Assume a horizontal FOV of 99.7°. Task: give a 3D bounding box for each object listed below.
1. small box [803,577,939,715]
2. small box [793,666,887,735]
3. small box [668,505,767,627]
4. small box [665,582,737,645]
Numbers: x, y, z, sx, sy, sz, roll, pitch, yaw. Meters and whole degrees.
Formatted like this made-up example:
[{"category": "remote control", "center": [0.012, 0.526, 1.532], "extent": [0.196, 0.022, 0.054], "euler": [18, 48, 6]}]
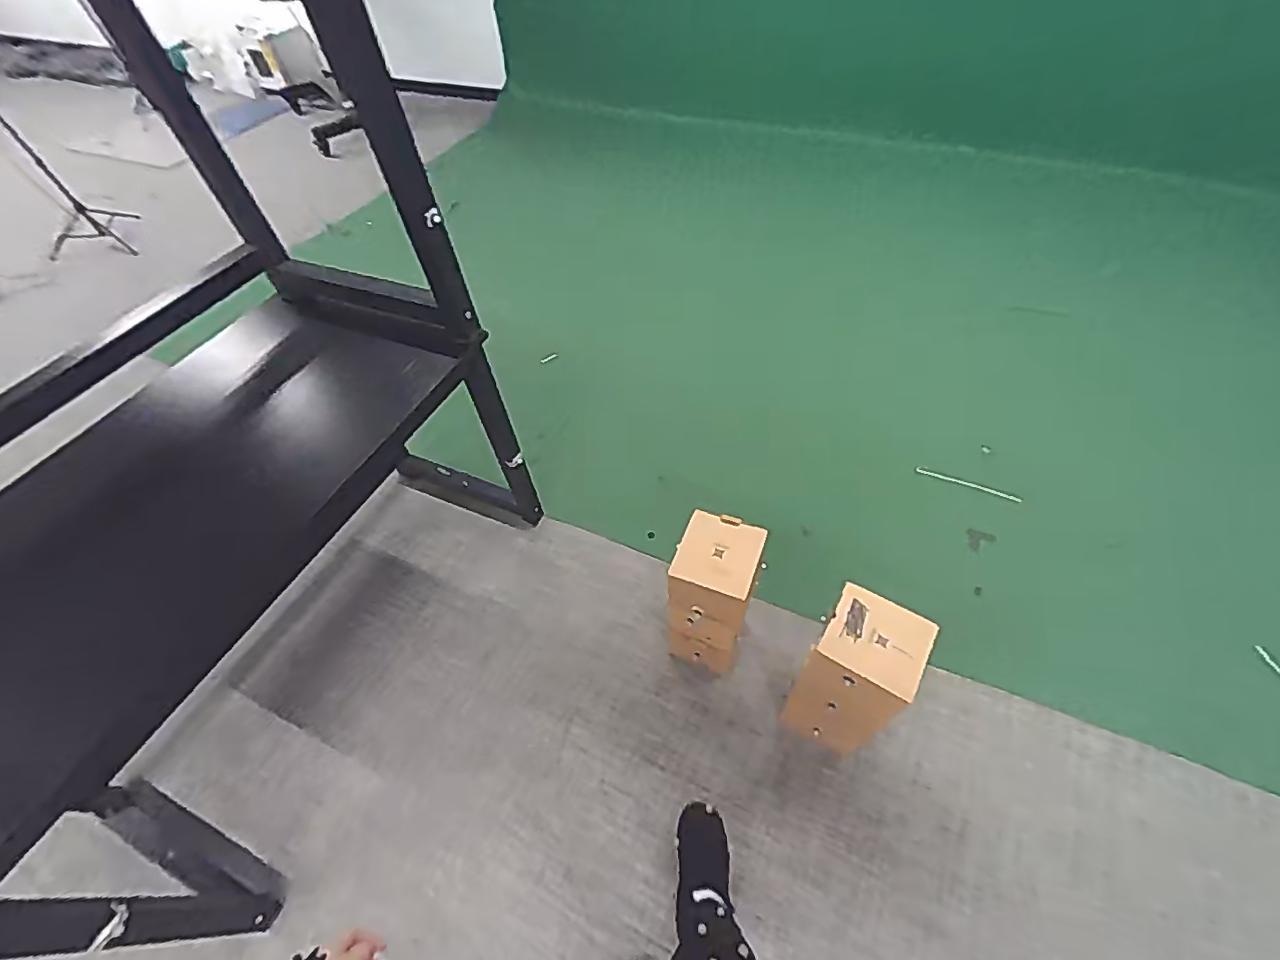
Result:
[{"category": "small box", "center": [0.435, 0.324, 1.043], "extent": [0.179, 0.176, 0.168], "euler": [26, 60, 22]}, {"category": "small box", "center": [0.451, 0.423, 1.172], "extent": [0.179, 0.176, 0.168], "euler": [29, 61, 23]}, {"category": "small box", "center": [0.165, 0.188, 1.170], "extent": [0.168, 0.176, 0.179], "euler": [15, 56, 17]}, {"category": "small box", "center": [0.170, 0.272, 1.310], "extent": [0.168, 0.176, 0.179], "euler": [18, 55, 17]}]
